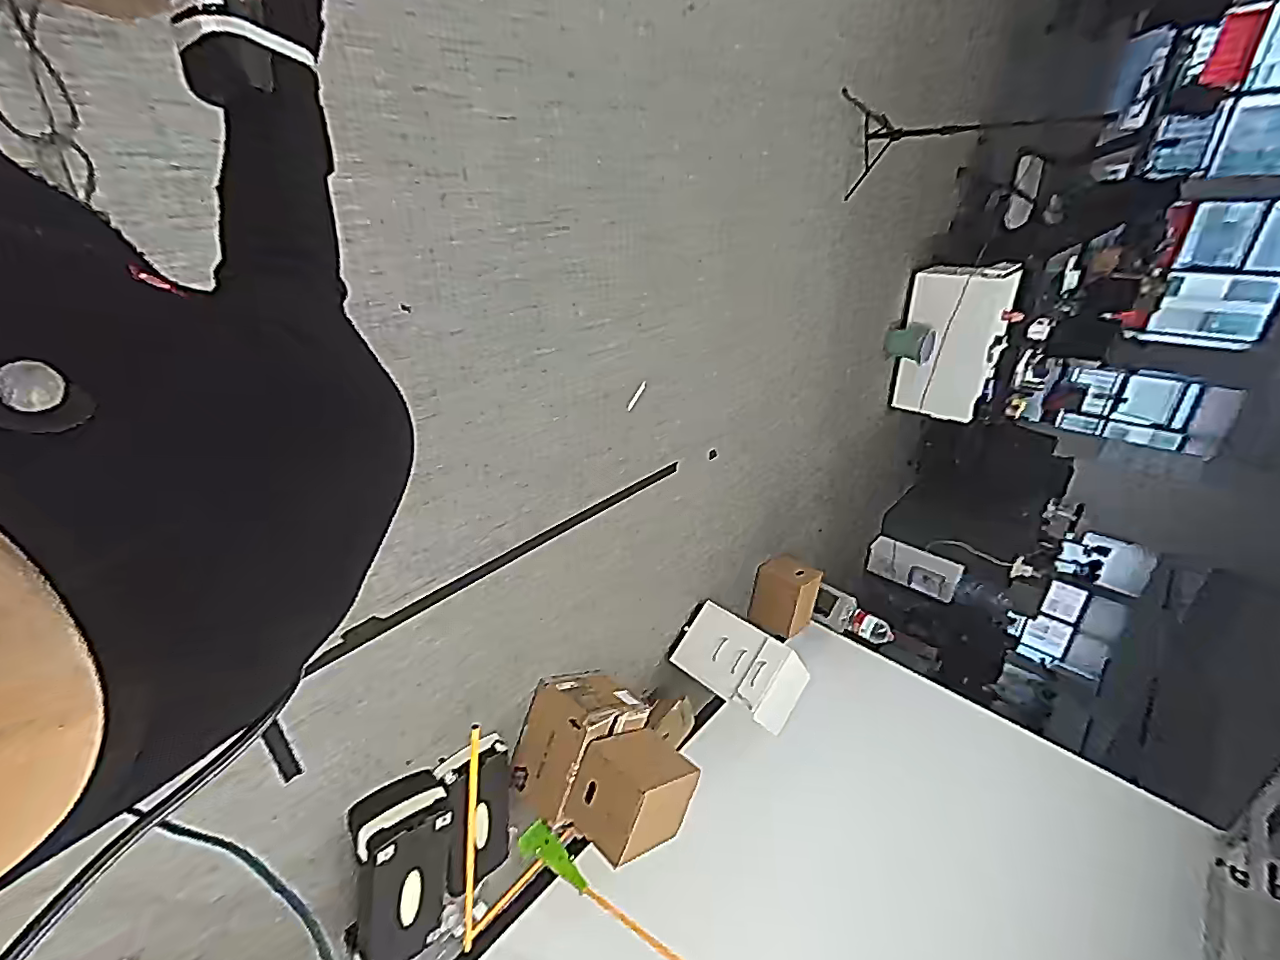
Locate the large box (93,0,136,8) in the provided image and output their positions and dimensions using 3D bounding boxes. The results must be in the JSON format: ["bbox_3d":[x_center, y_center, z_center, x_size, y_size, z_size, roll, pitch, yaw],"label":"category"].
[{"bbox_3d":[-0.506,-0.515,0.258,0.408,0.320,0.320,-16,126,-49],"label":"large box"}]
